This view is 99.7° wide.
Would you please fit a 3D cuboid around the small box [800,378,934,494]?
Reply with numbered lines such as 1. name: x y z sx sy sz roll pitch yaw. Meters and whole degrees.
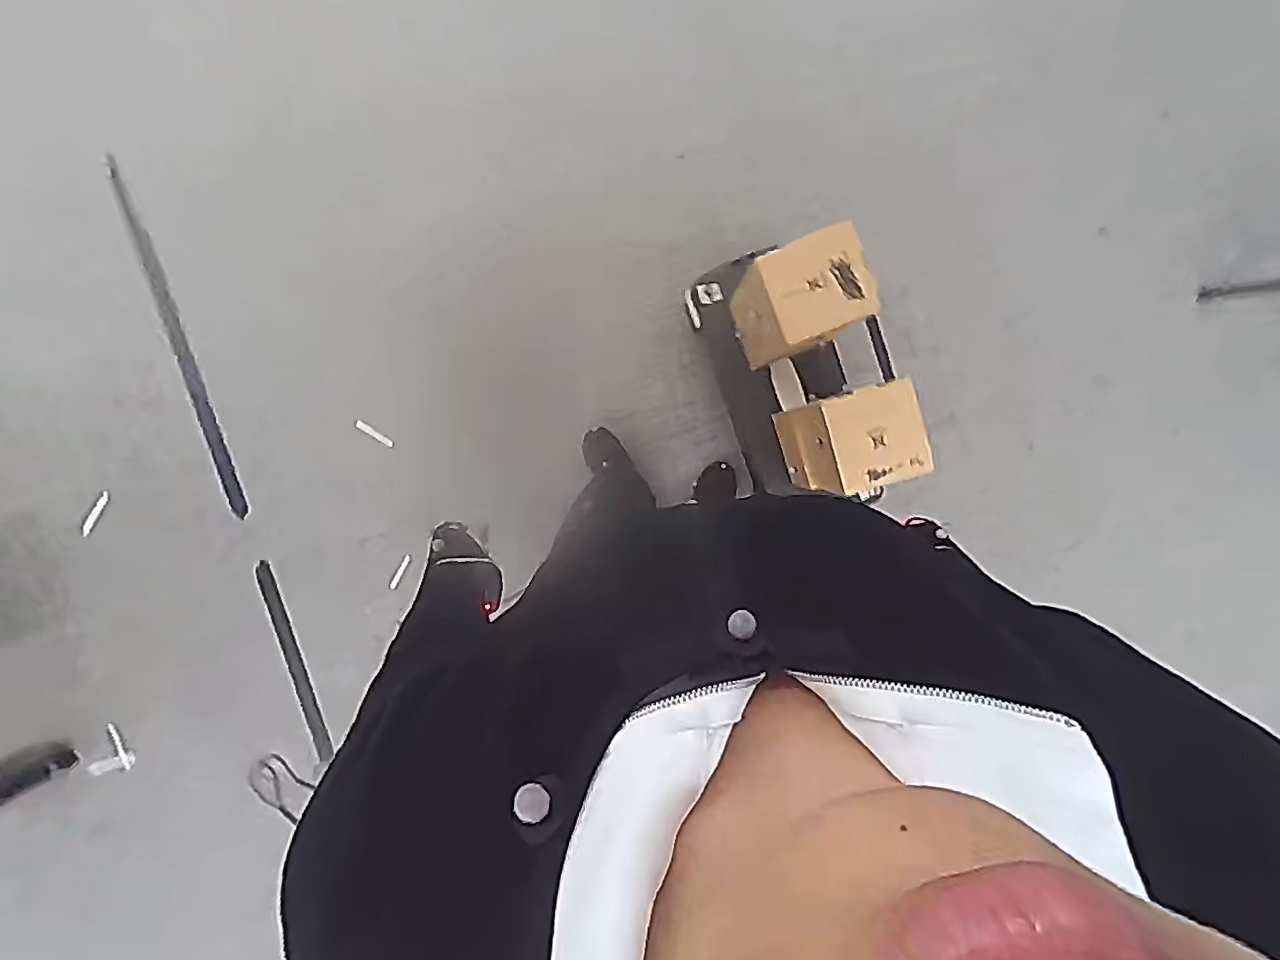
1. small box: 0.422 -0.080 1.036 0.168 0.176 0.179 -16 92 3

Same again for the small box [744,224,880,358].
1. small box: 0.313 -0.344 1.018 0.179 0.176 0.168 -21 93 4

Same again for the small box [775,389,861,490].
1. small box: 0.410 -0.088 1.201 0.168 0.176 0.179 -17 91 3

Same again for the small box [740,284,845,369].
1. small box: 0.314 -0.352 1.182 0.179 0.176 0.168 -20 93 3
